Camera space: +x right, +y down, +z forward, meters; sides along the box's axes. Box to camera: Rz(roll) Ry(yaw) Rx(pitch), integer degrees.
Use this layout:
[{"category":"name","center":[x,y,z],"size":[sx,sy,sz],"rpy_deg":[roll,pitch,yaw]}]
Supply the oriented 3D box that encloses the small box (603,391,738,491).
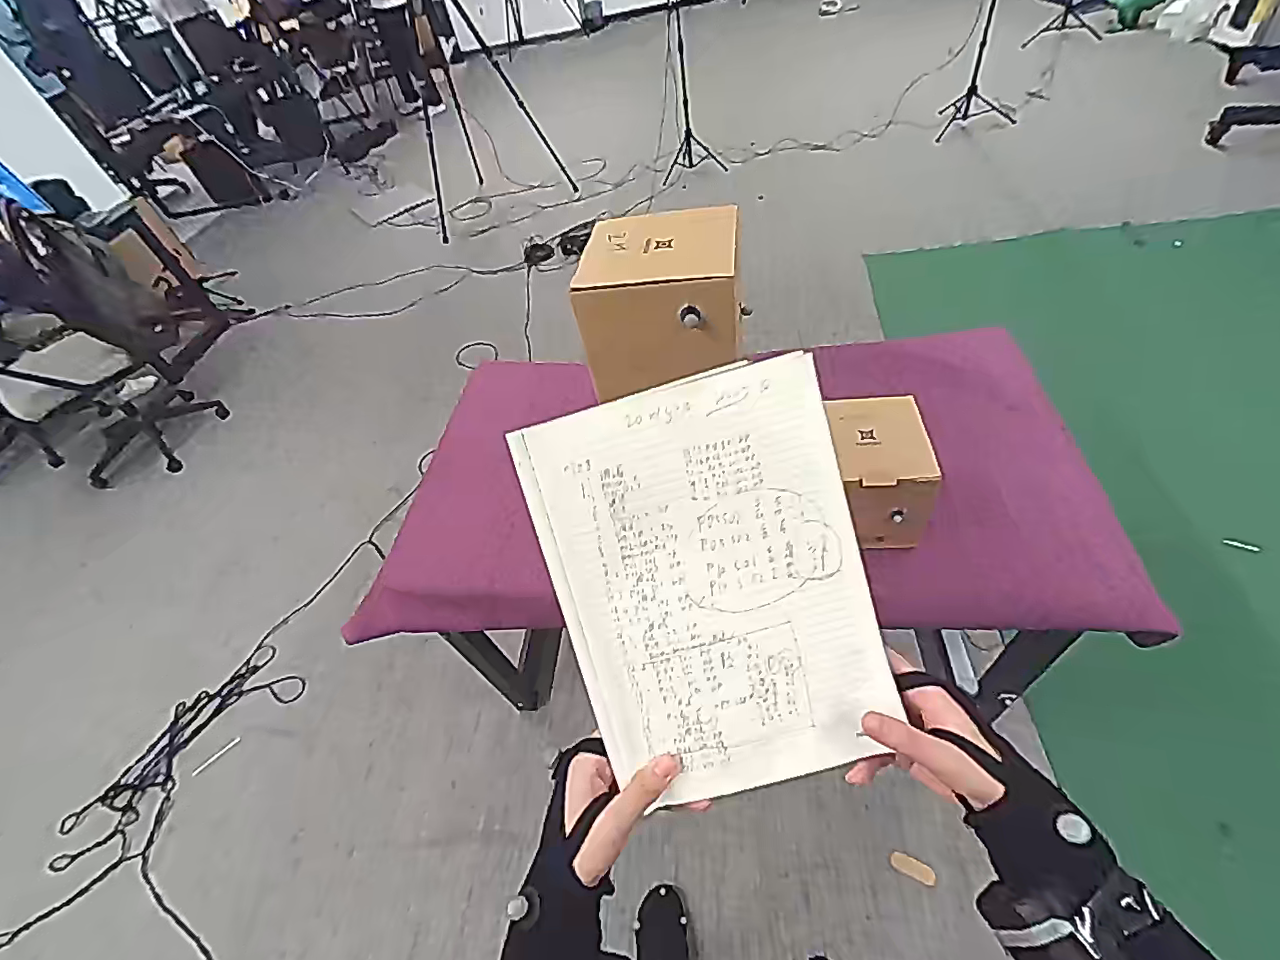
[{"category":"small box","center":[0.056,-0.096,0.785],"size":[0.168,0.176,0.179],"rpy_deg":[-2,48,11]}]

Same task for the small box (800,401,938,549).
[{"category":"small box","center":[0.349,-0.003,0.859],"size":[0.168,0.176,0.179],"rpy_deg":[-1,48,11]}]

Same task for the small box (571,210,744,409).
[{"category":"small box","center":[0.036,-0.201,0.658],"size":[0.179,0.176,0.168],"rpy_deg":[0,48,13]}]
